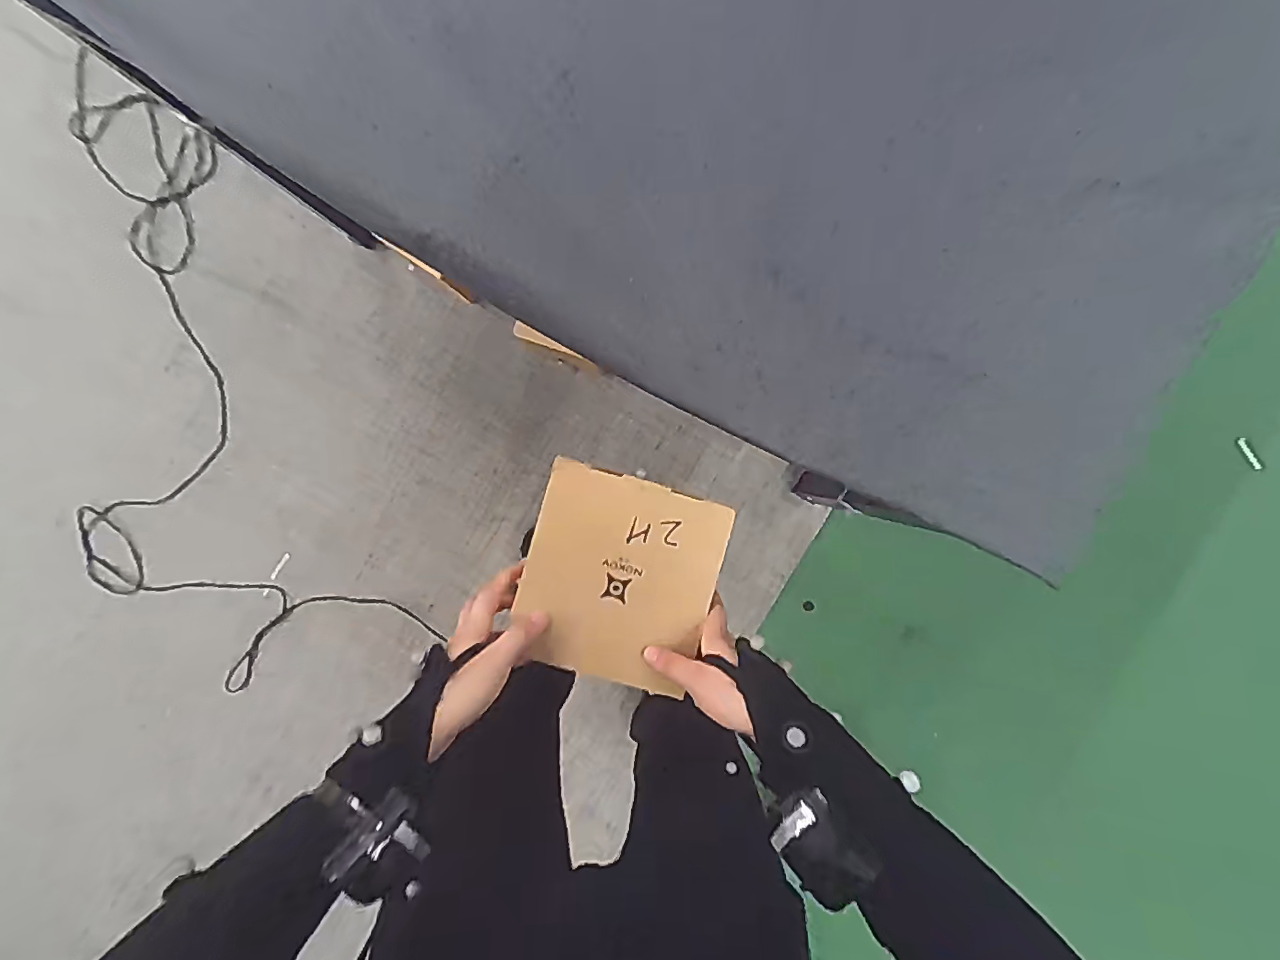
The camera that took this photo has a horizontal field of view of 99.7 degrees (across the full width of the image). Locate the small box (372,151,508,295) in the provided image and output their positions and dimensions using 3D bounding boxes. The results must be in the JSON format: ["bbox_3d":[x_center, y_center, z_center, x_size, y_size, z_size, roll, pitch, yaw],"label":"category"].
[{"bbox_3d":[-0.394,-0.509,1.103,0.168,0.176,0.179,35,92,1],"label":"small box"}]

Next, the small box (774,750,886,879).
[{"bbox_3d":[0.380,0.673,1.106,0.179,0.176,0.168,-2,92,2],"label":"small box"}]

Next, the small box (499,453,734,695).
[{"bbox_3d":[-0.022,0.079,0.548,0.168,0.176,0.179,18,92,-3],"label":"small box"}]
